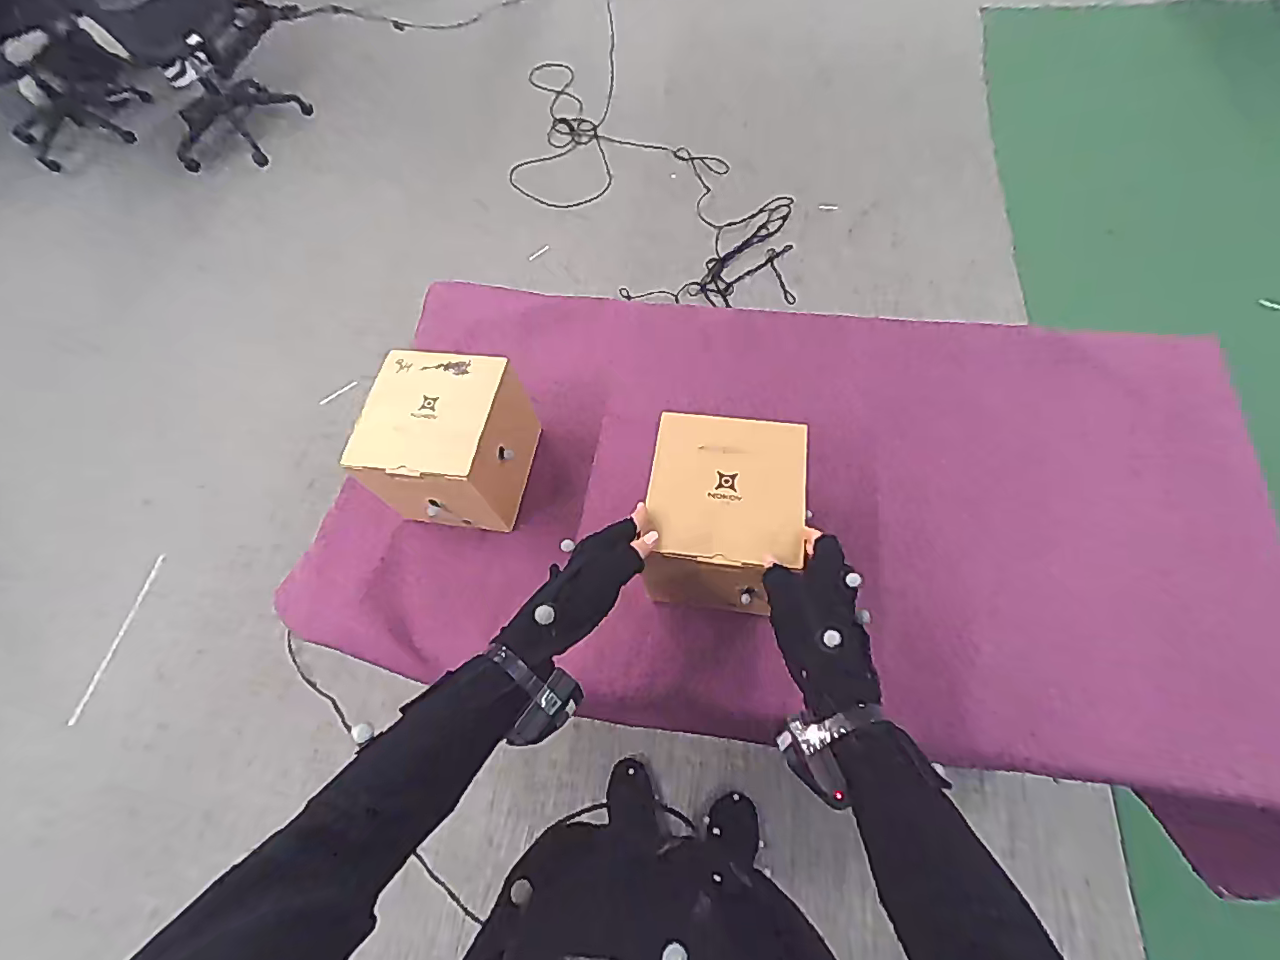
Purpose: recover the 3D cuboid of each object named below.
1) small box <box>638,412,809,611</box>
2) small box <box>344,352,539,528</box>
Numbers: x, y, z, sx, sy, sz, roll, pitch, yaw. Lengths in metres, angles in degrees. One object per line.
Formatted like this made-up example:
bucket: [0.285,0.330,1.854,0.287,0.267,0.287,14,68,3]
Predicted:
small box: [0.099,0.044,0.643,0.168,0.176,0.179,7,62,8]
small box: [-0.249,-0.048,0.730,0.168,0.176,0.179,6,65,9]
